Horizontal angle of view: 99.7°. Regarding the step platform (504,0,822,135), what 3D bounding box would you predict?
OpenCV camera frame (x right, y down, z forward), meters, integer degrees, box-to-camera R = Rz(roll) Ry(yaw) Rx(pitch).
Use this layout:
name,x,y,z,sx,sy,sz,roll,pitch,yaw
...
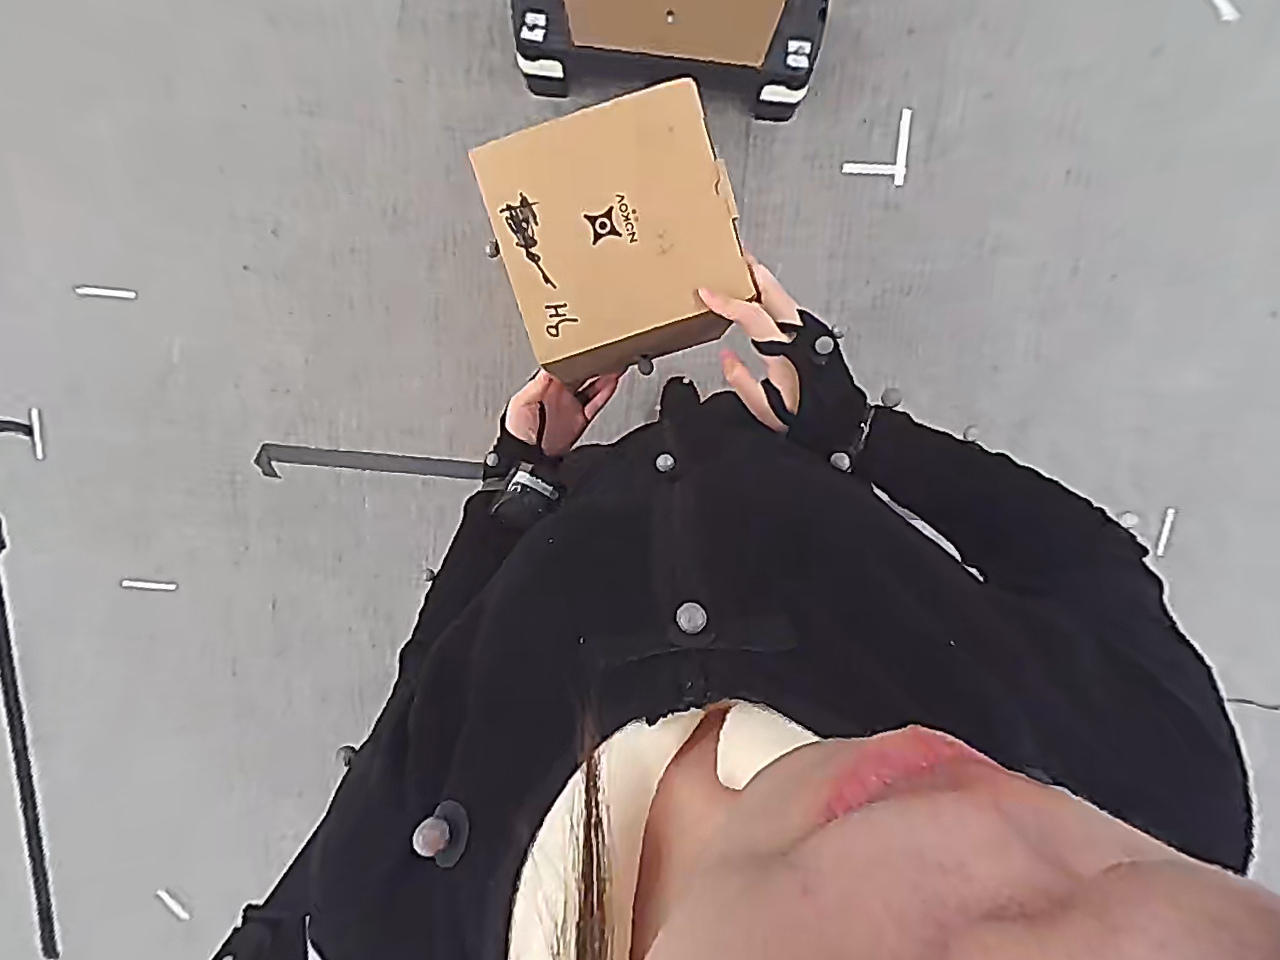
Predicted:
name,x,y,z,sx,sy,sz,roll,pitch,yaw
step platform,0.050,-1.022,1.208,0.684,0.204,0.286,11,100,-1

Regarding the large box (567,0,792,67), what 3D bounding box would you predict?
name,x,y,z,sx,sy,sz,roll,pitch,yaw
large box,0.079,-1.004,0.969,0.408,0.320,0.320,6,99,1

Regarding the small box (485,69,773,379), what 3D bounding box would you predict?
name,x,y,z,sx,sy,sz,roll,pitch,yaw
small box,-0.009,-0.197,0.468,0.179,0.176,0.168,-17,94,-1
